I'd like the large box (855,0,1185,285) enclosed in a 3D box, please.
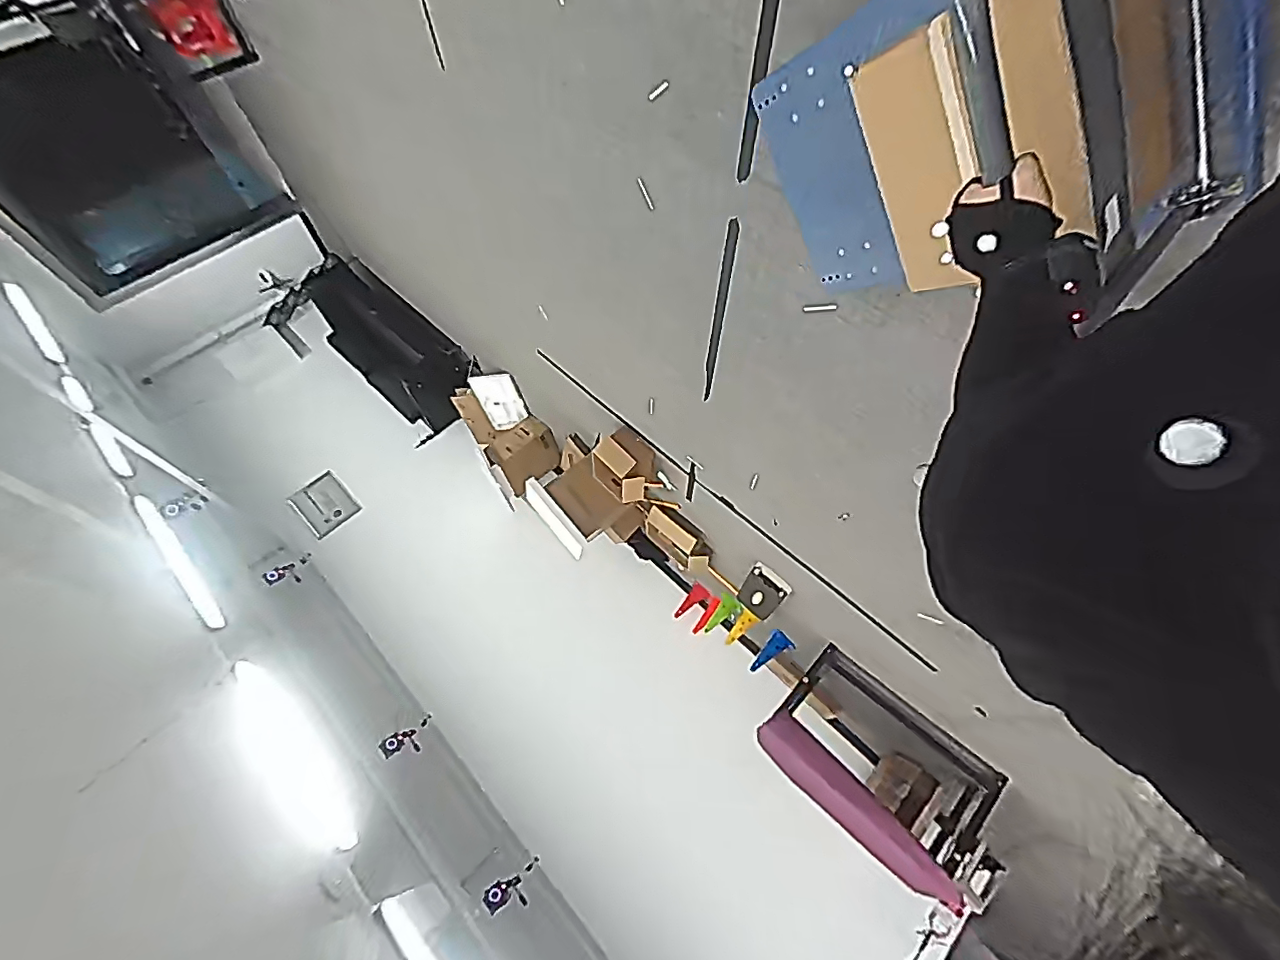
[{"bbox_3d":[0.640,-0.609,0.908,0.320,0.320,0.408,13,139,57],"label":"large box"}]
